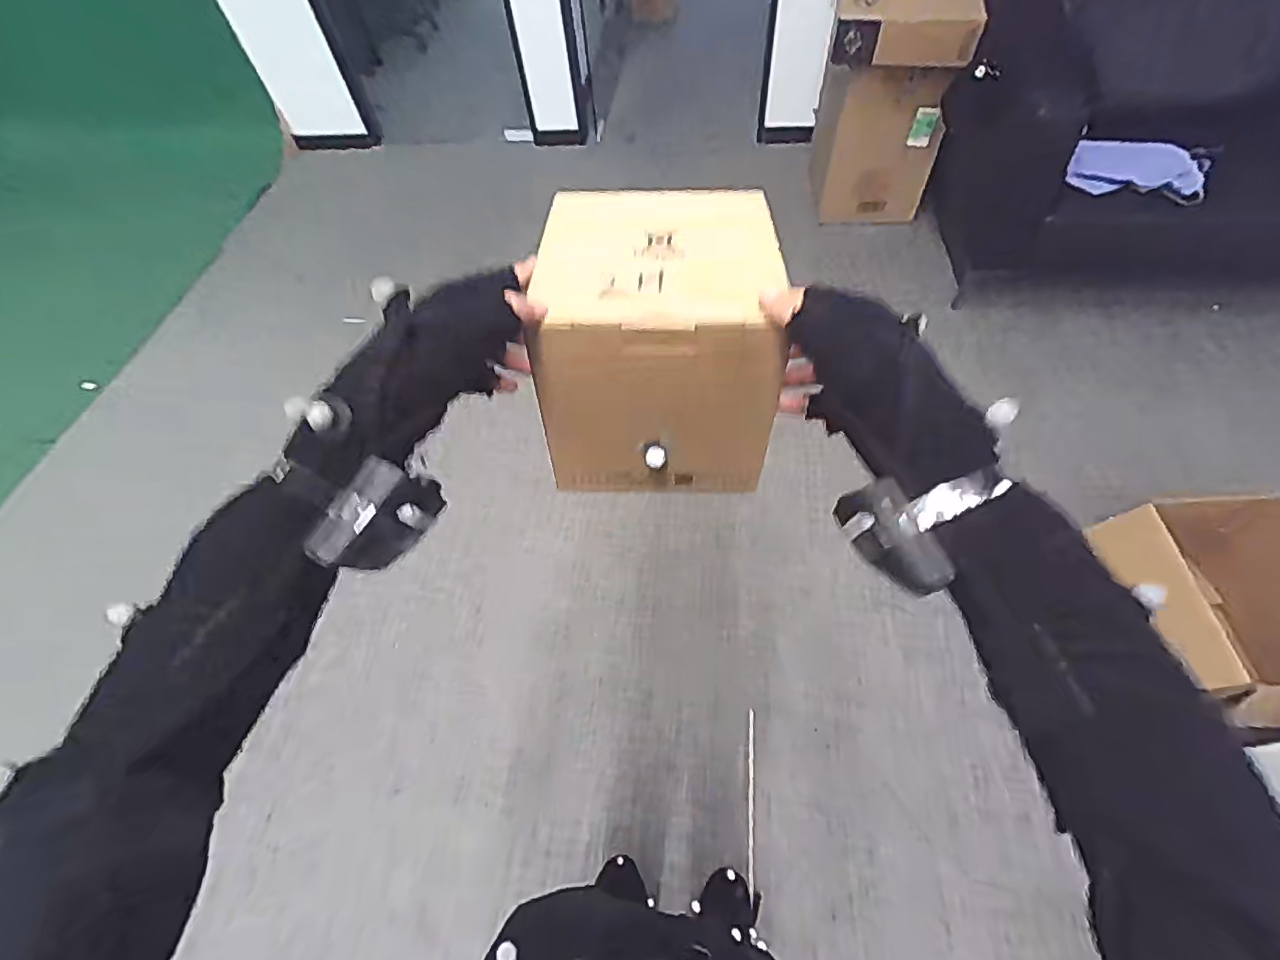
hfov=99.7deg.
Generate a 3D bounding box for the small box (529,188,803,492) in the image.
[{"bbox_3d":[0.019,-0.111,0.432,0.168,0.176,0.179,0,50,2],"label":"small box"}]
